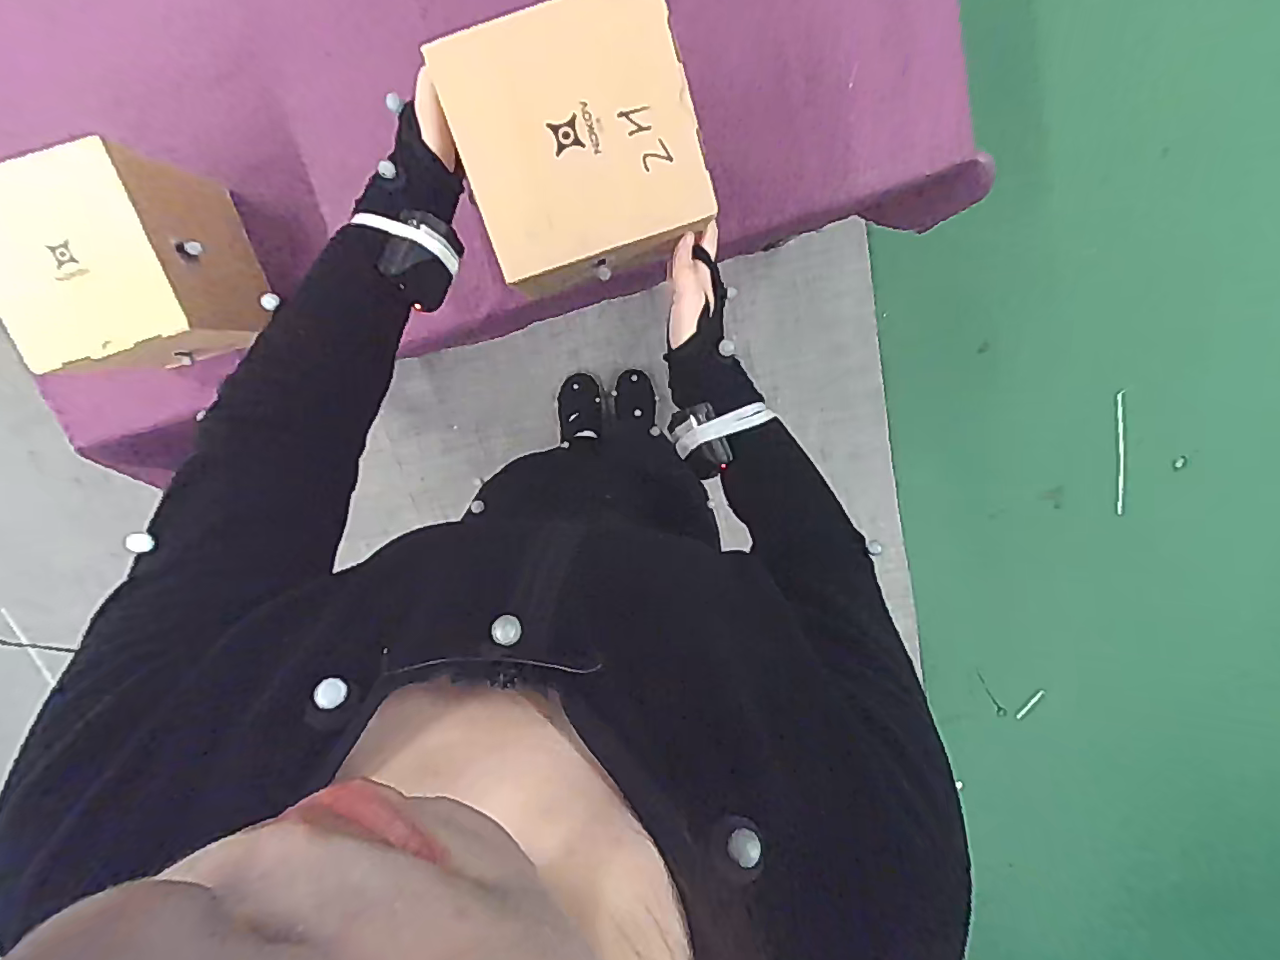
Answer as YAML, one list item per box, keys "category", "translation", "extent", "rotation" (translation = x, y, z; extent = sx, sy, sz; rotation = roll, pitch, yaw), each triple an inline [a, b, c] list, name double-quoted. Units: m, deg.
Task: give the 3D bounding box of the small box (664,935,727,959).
- category: "small box"
  translation: [0.166, 1.416, 1.496]
  extent: [0.179, 0.176, 0.168]
  rotation: [-14, 107, 0]

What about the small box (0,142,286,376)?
- category: "small box"
  translation: [-0.534, -0.221, 0.581]
  extent: [0.168, 0.176, 0.179]
  rotation: [-16, 106, 1]
